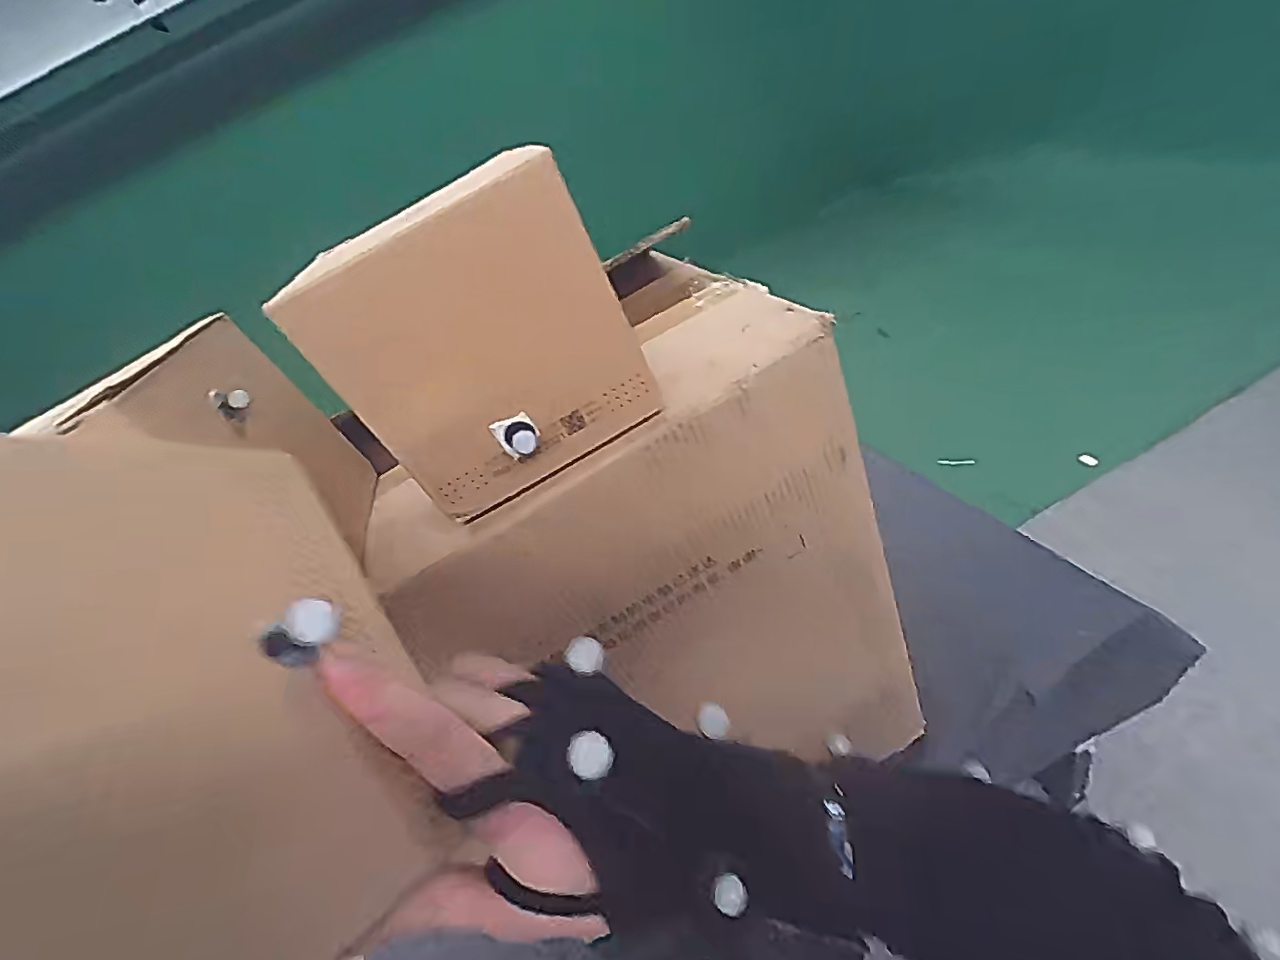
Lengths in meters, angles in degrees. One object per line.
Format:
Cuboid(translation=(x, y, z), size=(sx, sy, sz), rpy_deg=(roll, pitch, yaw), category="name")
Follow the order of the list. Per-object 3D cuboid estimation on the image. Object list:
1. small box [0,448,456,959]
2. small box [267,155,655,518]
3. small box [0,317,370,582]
Cuboid(translation=(-0.197, 0.103, 0.161), size=(0.168, 0.179, 0.176), rpy_deg=(-40, -11, 15), category="small box")
Cuboid(translation=(-0.113, -0.105, 0.388), size=(0.168, 0.176, 0.179), rpy_deg=(-32, 37, -2), category="small box")
Cuboid(translation=(-0.319, 0.020, 0.377), size=(0.168, 0.176, 0.179), rpy_deg=(-31, 35, 0), category="small box")
